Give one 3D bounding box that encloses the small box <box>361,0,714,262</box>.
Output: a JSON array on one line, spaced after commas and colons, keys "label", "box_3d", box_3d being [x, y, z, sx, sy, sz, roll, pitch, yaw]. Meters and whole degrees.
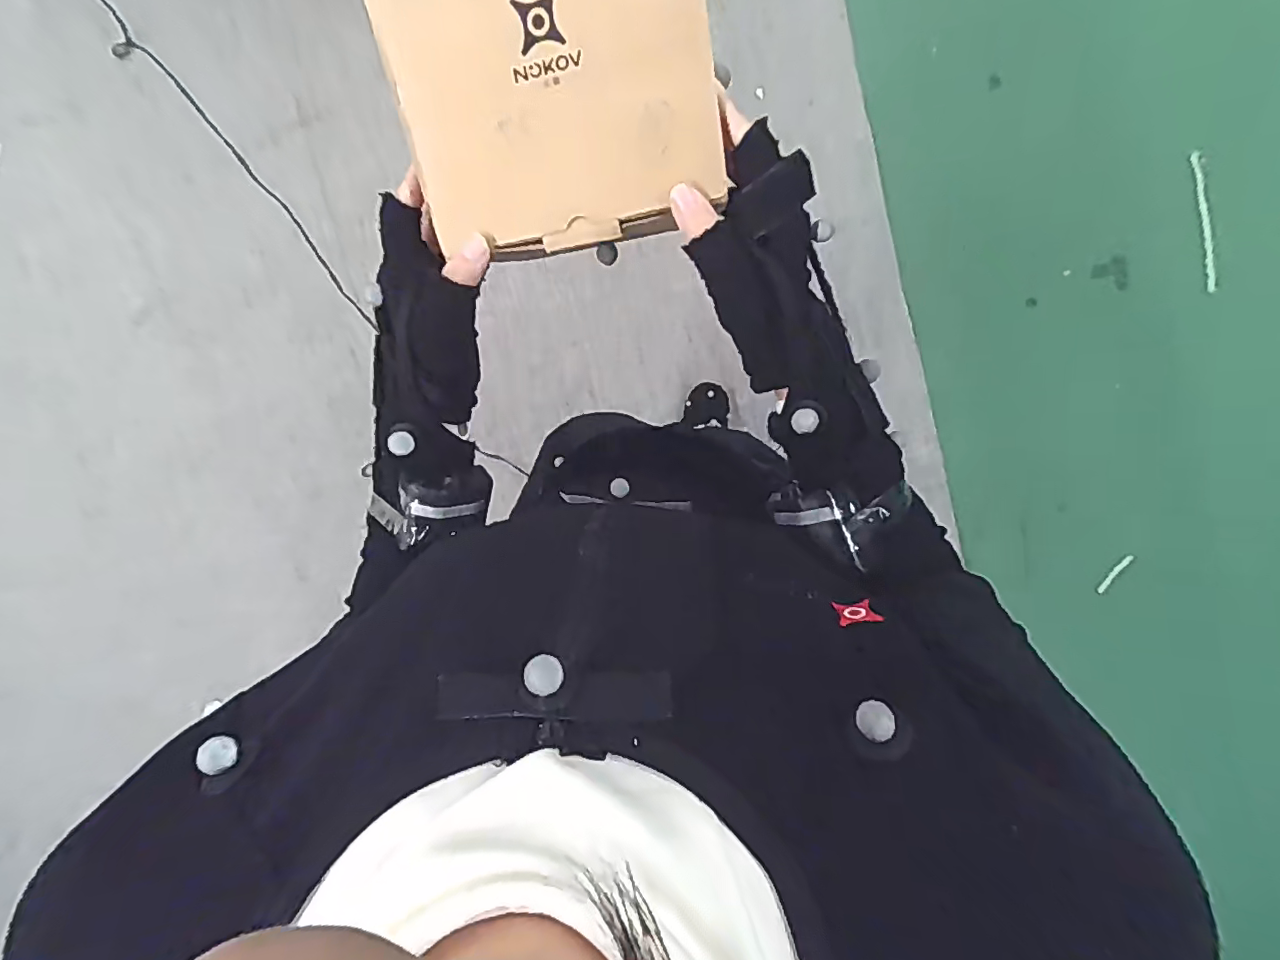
[{"label": "small box", "box_3d": [-0.044, -0.249, 0.344, 0.168, 0.176, 0.179, -8, 112, 9]}]
